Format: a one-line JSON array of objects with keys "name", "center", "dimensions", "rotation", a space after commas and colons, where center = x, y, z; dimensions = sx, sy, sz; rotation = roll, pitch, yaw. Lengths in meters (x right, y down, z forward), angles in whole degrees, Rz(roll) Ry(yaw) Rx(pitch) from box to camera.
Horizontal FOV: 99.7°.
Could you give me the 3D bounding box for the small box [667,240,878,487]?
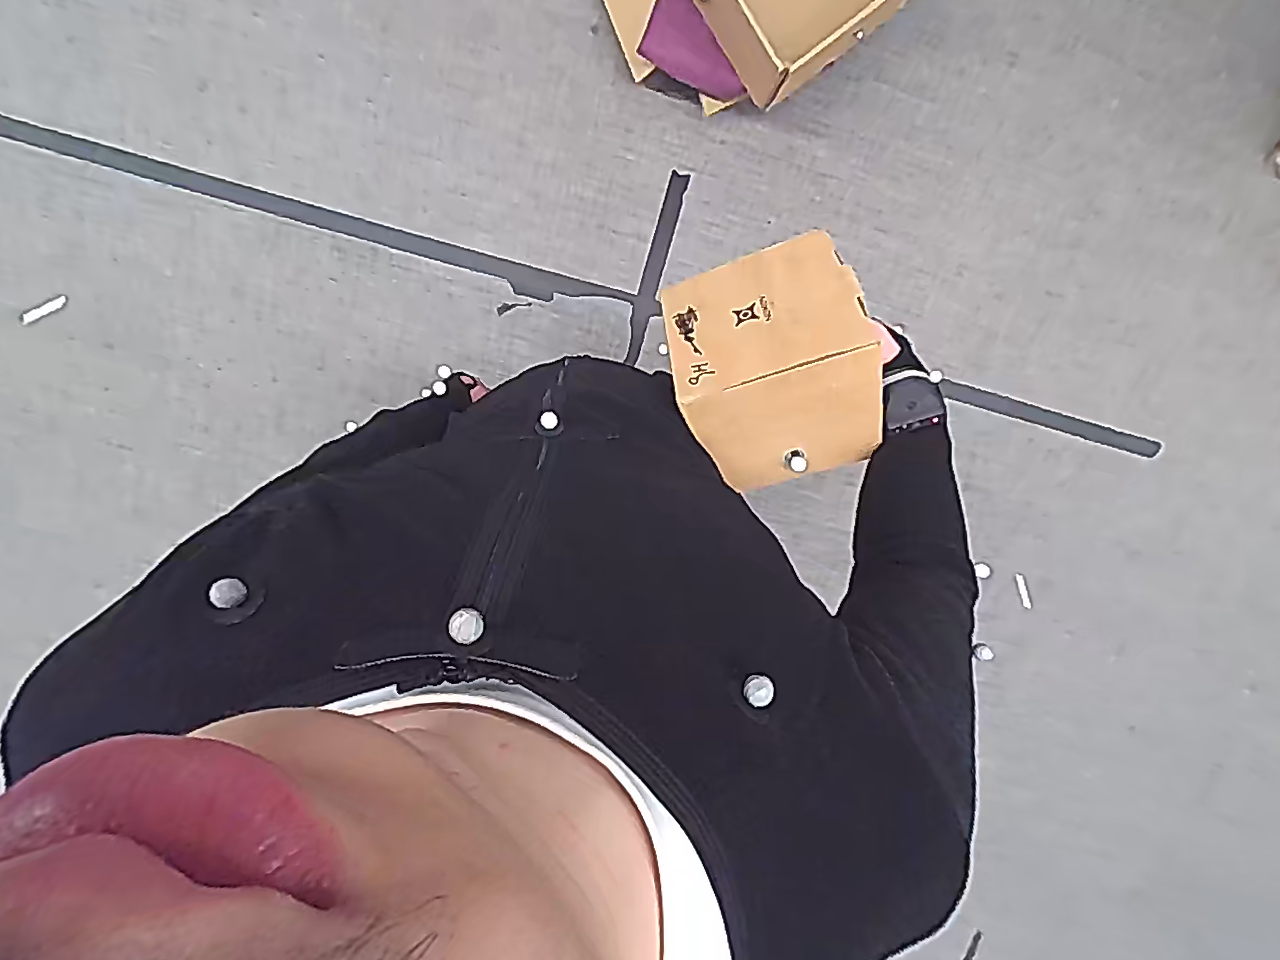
[{"name": "small box", "center": [0.142, -0.115, 0.586], "dimensions": [0.179, 0.168, 0.176], "rotation": [-15, 143, 14]}]
